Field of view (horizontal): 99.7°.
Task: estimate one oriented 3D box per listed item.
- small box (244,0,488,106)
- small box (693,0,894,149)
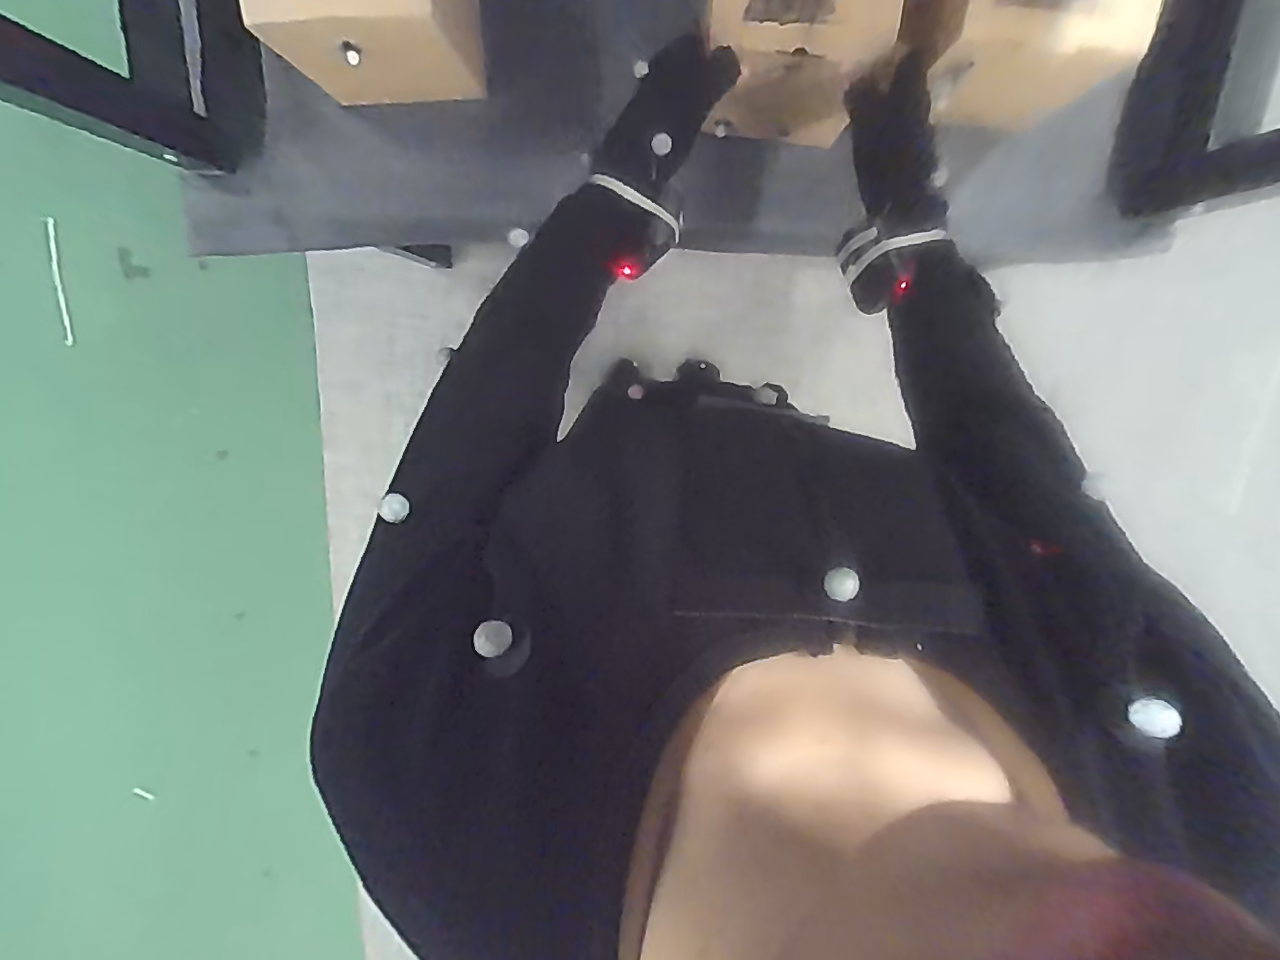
[{"bbox_3d":[-0.270,-0.507,0.550,0.179,0.176,0.168,-1,104,1],"label":"small box"},{"bbox_3d":[0.148,-0.465,0.546,0.168,0.176,0.179,7,100,0],"label":"small box"}]
